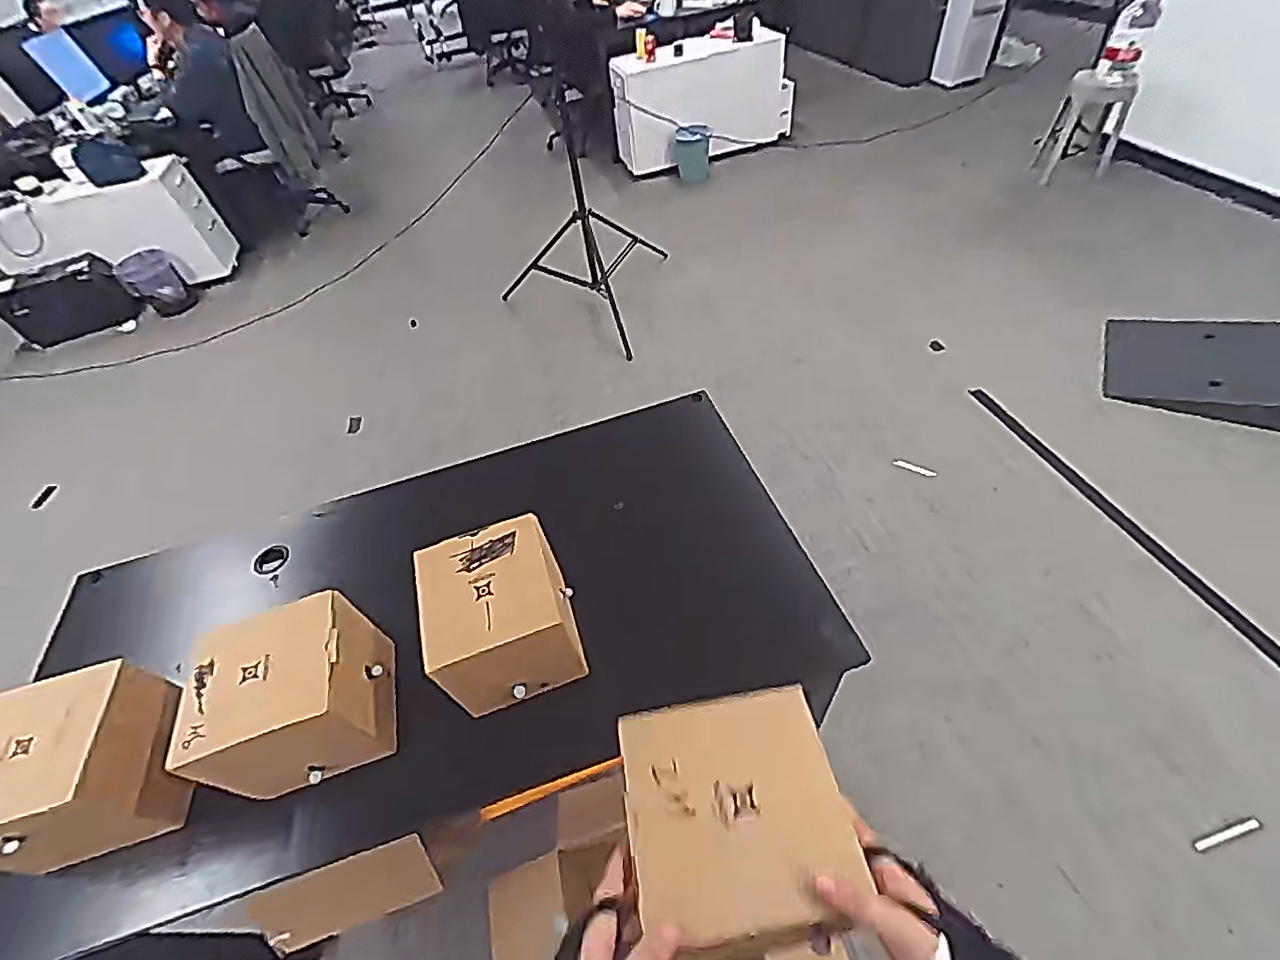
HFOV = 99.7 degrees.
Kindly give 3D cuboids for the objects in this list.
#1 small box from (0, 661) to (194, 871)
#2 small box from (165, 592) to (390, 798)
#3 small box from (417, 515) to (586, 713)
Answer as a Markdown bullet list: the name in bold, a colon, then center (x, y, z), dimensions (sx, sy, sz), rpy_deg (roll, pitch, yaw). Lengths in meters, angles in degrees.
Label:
- **small box**: center (-0.686, 0.352, 0.661), dimensions (0.179, 0.176, 0.168), rpy_deg (-15, 50, -6)
- **small box**: center (-0.436, 0.275, 0.690), dimensions (0.179, 0.176, 0.168), rpy_deg (-18, 49, -8)
- **small box**: center (-0.184, 0.182, 0.730), dimensions (0.168, 0.176, 0.179), rpy_deg (-19, 50, -7)
